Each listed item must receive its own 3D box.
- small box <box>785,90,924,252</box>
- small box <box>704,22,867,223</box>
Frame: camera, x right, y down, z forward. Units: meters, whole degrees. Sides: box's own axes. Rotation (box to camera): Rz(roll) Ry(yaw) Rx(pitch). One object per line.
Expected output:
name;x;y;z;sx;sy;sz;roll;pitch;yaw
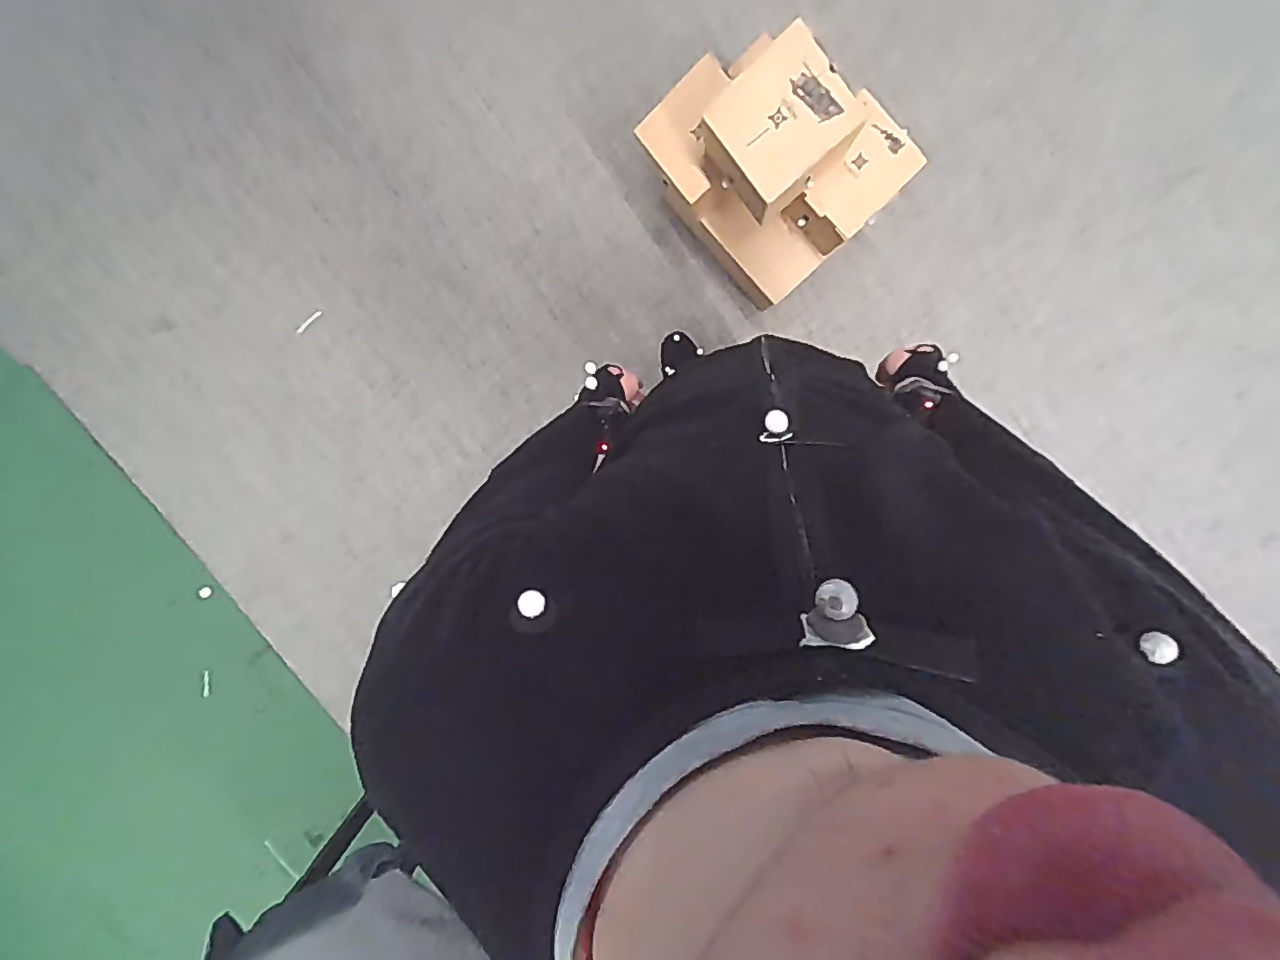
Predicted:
small box;0.373;-0.550;0.996;0.179;0.176;0.168;-43;95;15
small box;0.217;-0.541;0.849;0.179;0.176;0.168;-37;96;17
